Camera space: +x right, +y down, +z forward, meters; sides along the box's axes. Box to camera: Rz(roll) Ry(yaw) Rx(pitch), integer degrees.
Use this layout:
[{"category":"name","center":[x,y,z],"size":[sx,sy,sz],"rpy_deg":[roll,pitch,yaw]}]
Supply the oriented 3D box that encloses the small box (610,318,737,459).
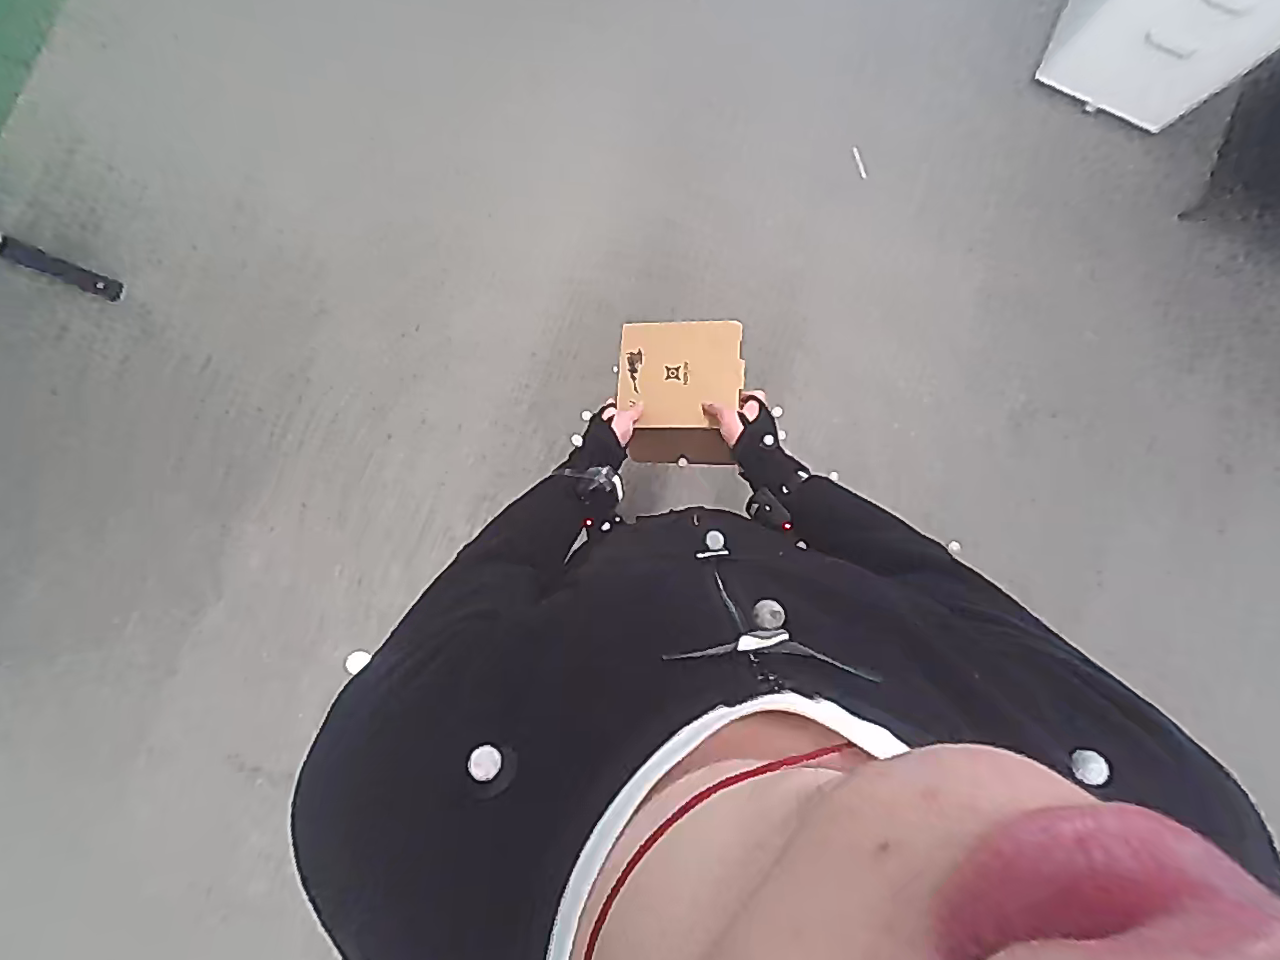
[{"category":"small box","center":[0.057,-0.136,0.843],"size":[0.179,0.176,0.168],"rpy_deg":[1,75,8]}]
